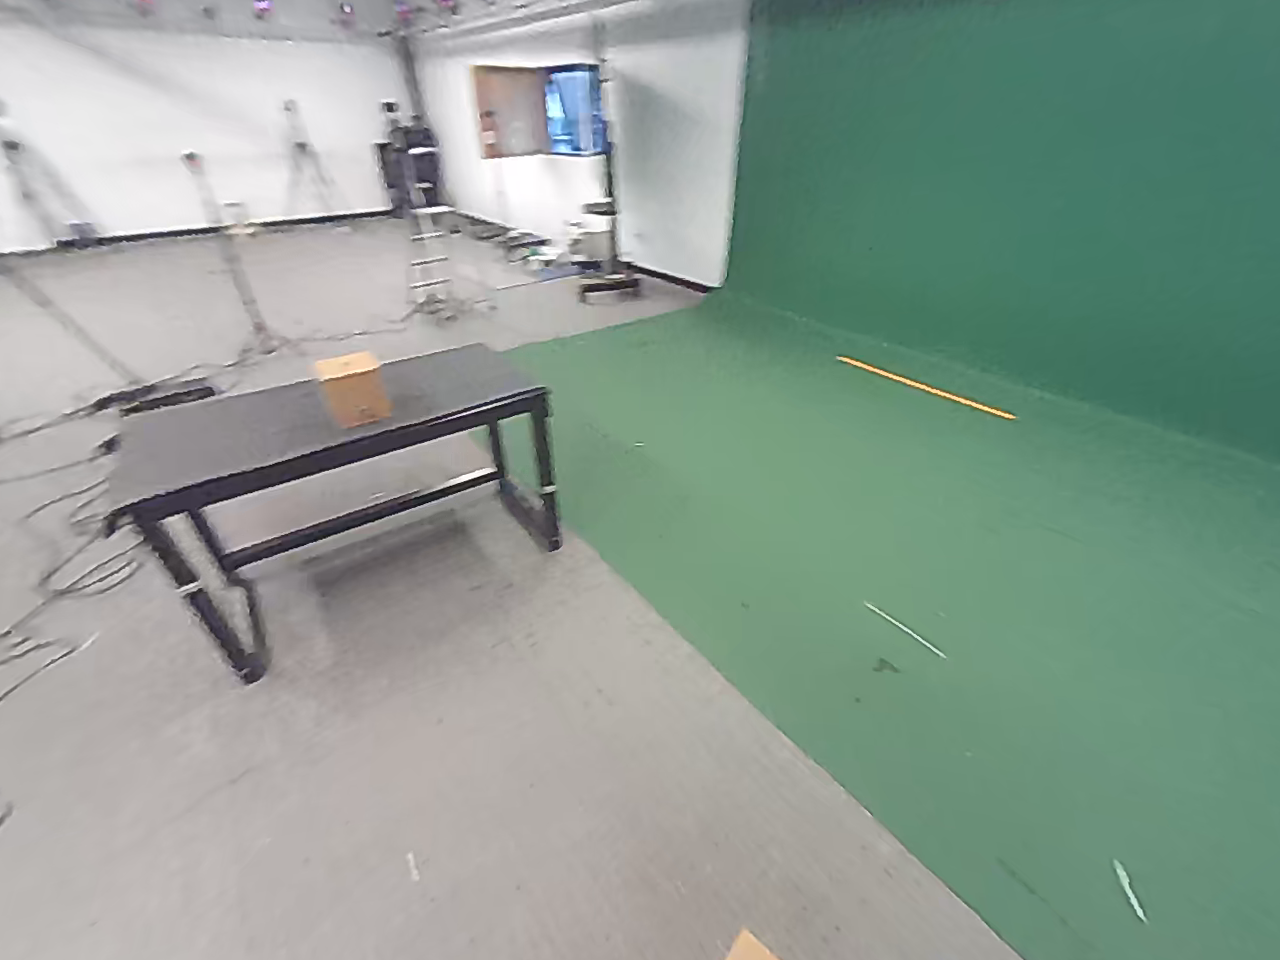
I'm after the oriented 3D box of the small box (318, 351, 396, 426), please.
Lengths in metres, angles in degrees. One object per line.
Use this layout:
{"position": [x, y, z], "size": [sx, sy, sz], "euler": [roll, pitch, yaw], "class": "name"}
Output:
{"position": [-0.896, -0.291, 1.713], "size": [0.168, 0.176, 0.179], "euler": [-21, 39, -27], "class": "small box"}
